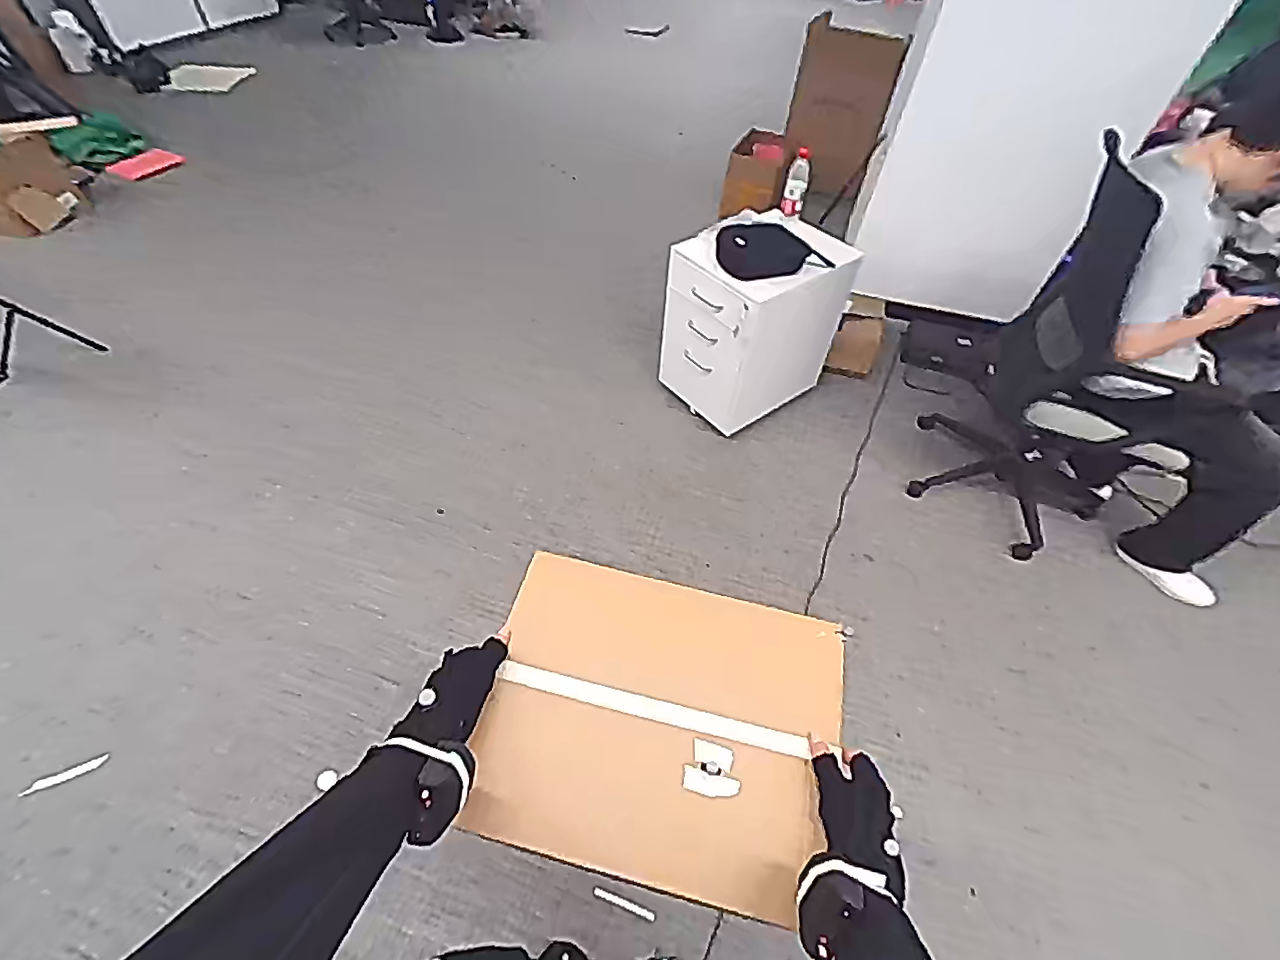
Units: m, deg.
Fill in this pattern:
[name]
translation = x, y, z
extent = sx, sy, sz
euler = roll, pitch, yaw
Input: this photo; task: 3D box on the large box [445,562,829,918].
[large box]
translation = 0.009, 0.355, 0.749
extent = 0.408, 0.320, 0.320
euler = 13, 55, 5
